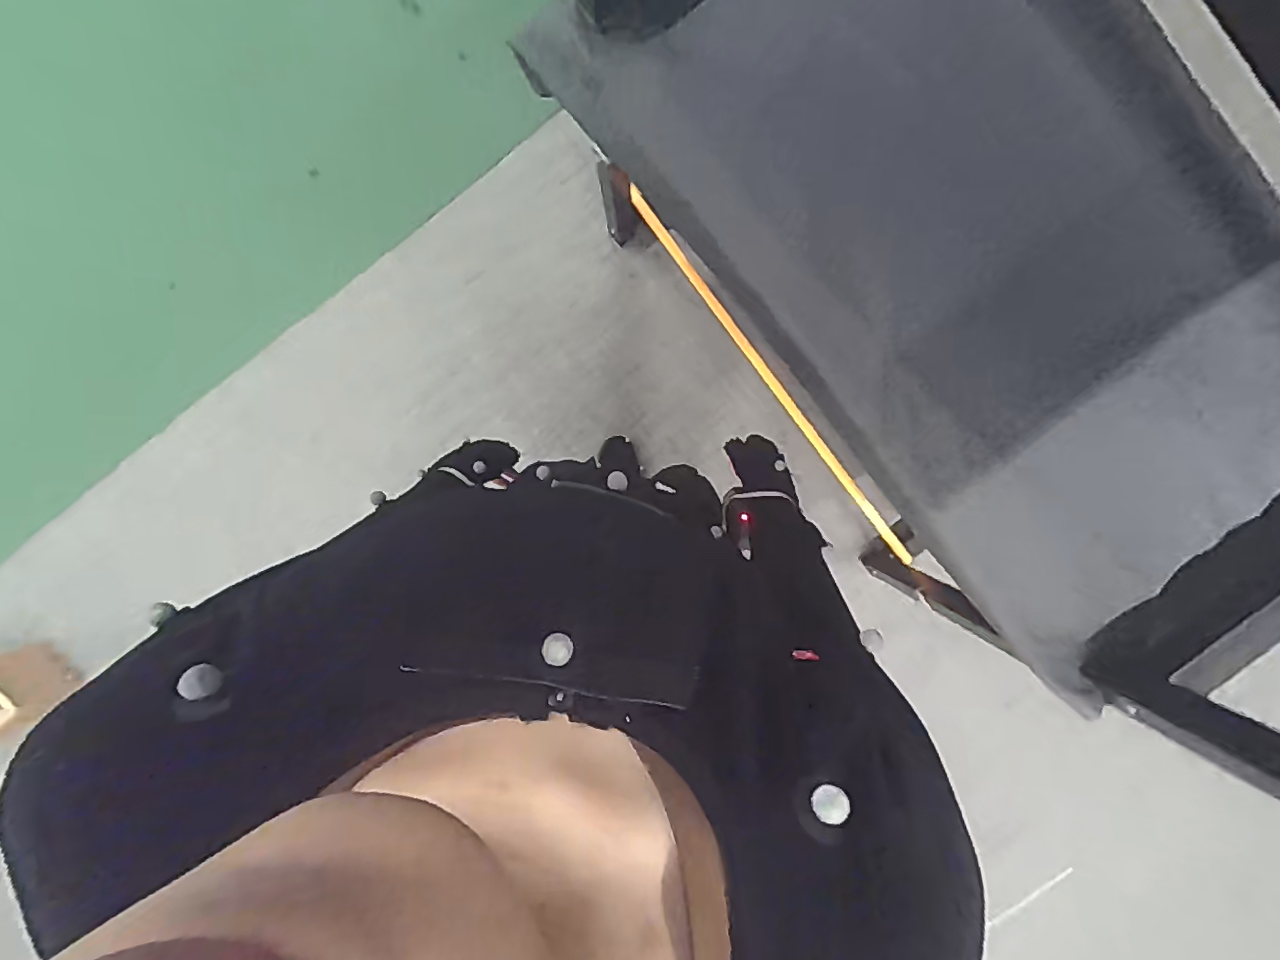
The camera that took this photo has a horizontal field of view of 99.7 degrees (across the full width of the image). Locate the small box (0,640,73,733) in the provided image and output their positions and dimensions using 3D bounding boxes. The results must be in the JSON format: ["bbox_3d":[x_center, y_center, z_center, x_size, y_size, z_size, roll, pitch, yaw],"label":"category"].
[{"bbox_3d":[-1.692,0.560,1.443,0.179,0.176,0.168,-39,92,3],"label":"small box"}]
